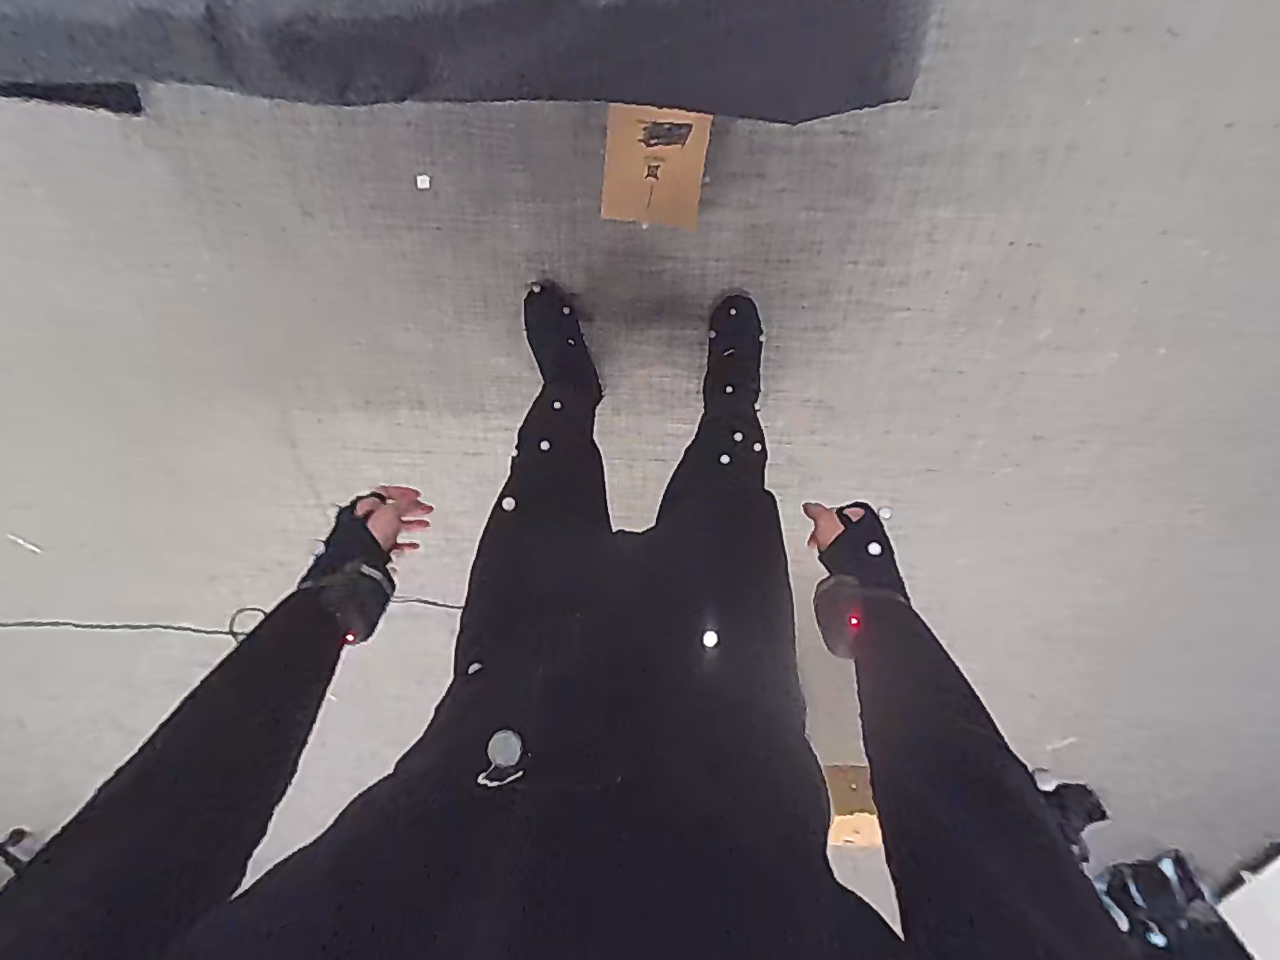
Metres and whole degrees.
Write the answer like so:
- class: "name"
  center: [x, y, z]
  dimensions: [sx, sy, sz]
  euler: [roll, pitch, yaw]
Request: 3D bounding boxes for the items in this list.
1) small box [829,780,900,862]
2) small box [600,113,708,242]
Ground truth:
- class: "small box"
  center: [0.729, 1.115, 1.776]
  dimensions: [0.168, 0.176, 0.179]
  euler: [-1, 116, 5]
- class: "small box"
  center: [0.022, -0.537, 0.972]
  dimensions: [0.168, 0.176, 0.179]
  euler: [7, 118, 0]
